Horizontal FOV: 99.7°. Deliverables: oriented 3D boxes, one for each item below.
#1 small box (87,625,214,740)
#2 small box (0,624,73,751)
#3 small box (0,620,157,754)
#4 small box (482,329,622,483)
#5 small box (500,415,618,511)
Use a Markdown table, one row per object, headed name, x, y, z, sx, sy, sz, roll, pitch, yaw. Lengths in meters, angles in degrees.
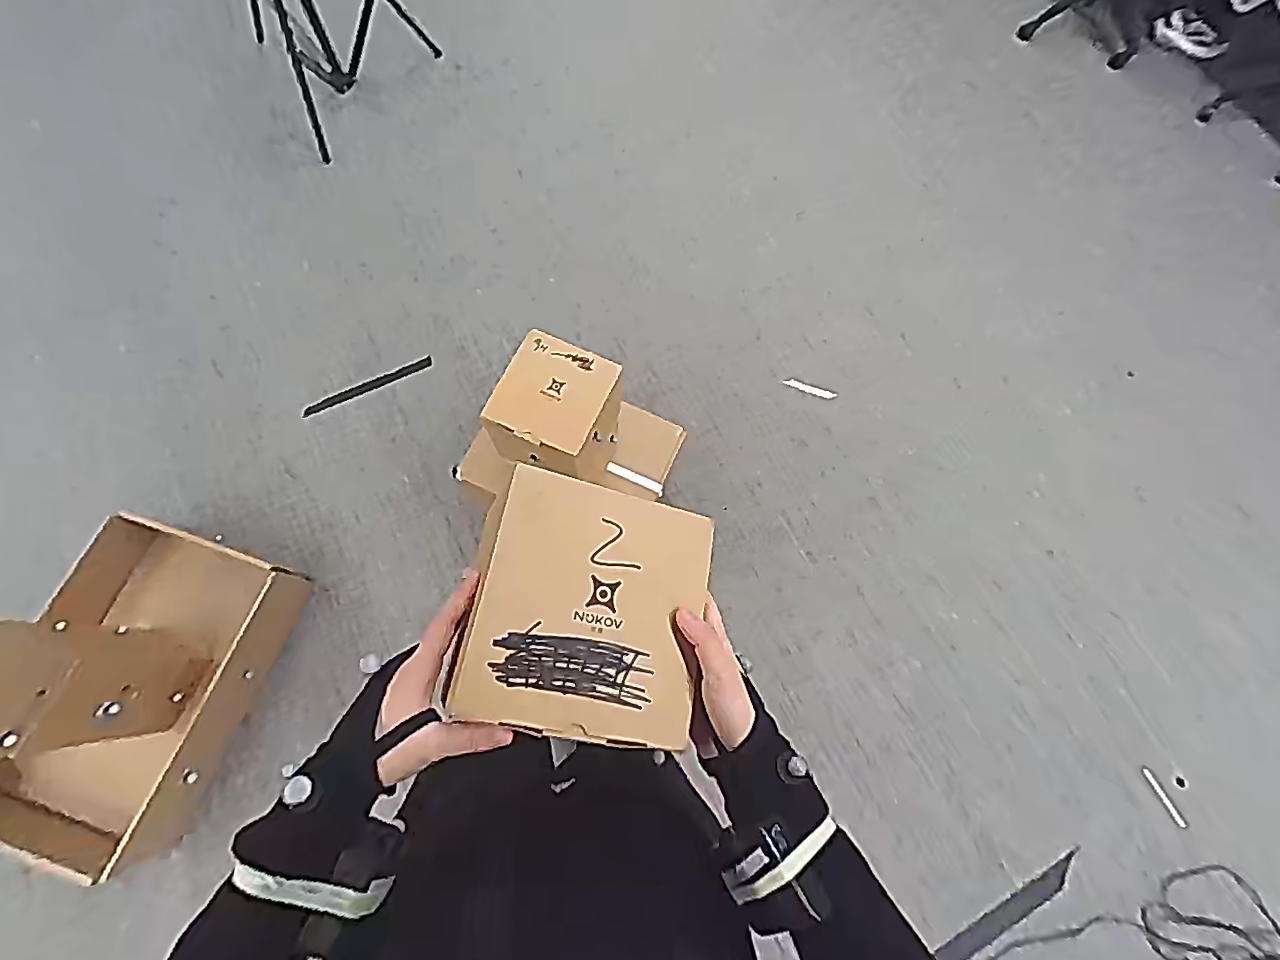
| name | x | y | z | sx | sy | sz | roll | pitch | yaw |
| --- | --- | --- | --- | --- | --- | --- | --- | --- | --- |
| small box | -1.065 | 0.419 | 1.132 | 0.179 | 0.176 | 0.168 | 22 | 73 | 3 |
| small box | -1.052 | 0.318 | 0.822 | 0.179 | 0.176 | 0.168 | 19 | 73 | 4 |
| small box | -1.056 | 0.368 | 0.979 | 0.179 | 0.176 | 0.168 | 21 | 73 | 2 |
| small box | -0.139 | -0.115 | 0.919 | 0.168 | 0.176 | 0.179 | 24 | 73 | 3 |
| small box | -0.151 | -0.057 | 1.073 | 0.168 | 0.176 | 0.179 | 23 | 72 | 3 |
